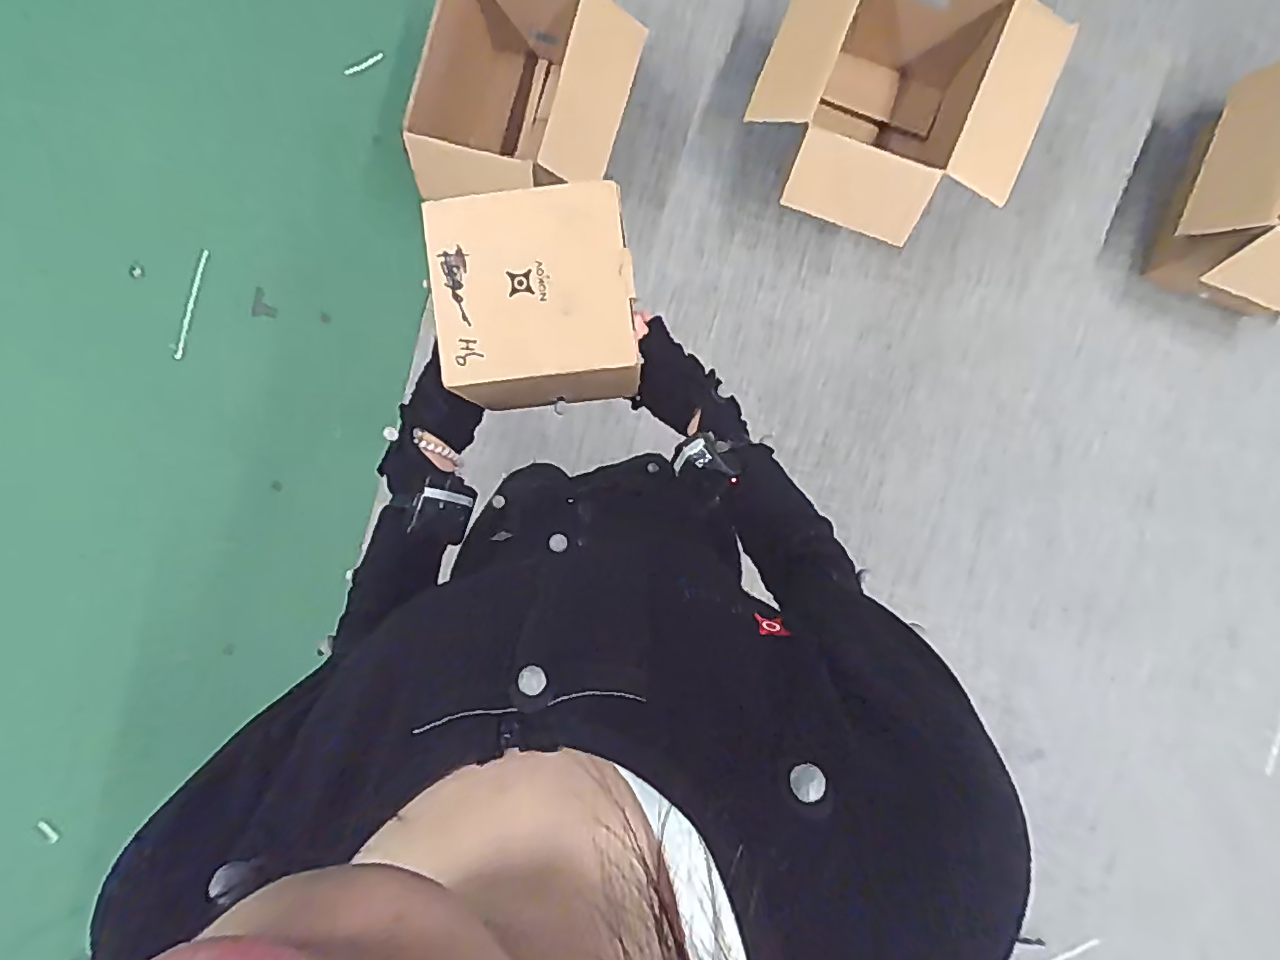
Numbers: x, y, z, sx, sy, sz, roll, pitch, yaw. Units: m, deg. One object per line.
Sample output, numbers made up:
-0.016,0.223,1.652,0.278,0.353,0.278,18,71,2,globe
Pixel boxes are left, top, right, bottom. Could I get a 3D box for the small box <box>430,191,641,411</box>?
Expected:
-0.097,-0.170,0.560,0.179,0.176,0.168,-6,89,-2,small box
